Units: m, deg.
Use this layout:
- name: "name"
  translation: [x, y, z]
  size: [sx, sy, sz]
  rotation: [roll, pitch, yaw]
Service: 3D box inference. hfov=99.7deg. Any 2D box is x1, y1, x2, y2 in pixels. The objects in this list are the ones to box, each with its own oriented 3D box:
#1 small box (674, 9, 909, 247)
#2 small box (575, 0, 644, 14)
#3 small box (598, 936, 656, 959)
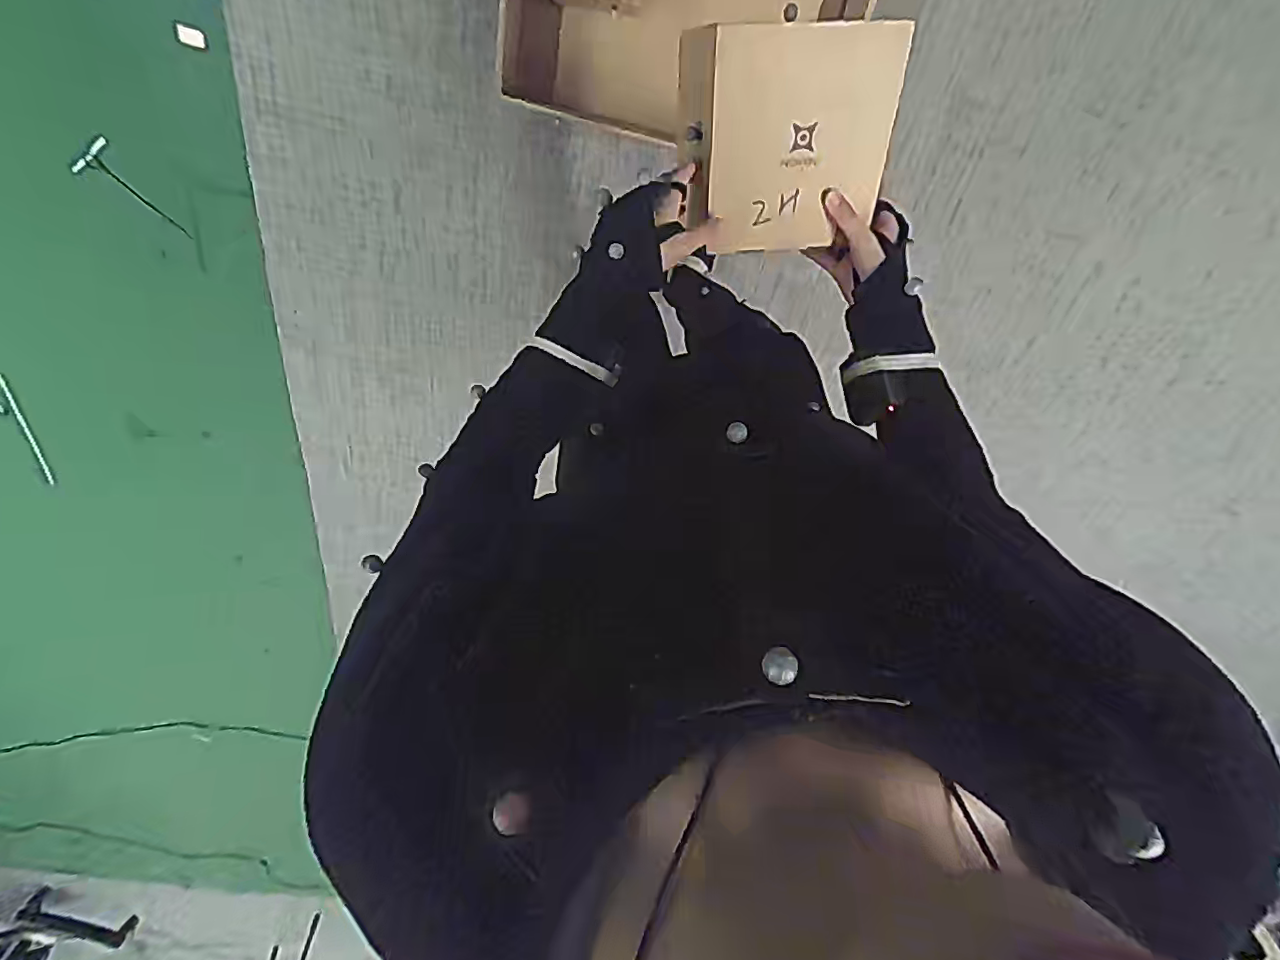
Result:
- name: "small box"
  translation: [0.127, -0.346, 0.538]
  size: [0.168, 0.176, 0.179]
  rotation: [-4, 128, -4]
- name: "small box"
  translation: [-0.064, -0.906, 0.894]
  size: [0.168, 0.176, 0.179]
  rotation: [8, 124, -5]
- name: "small box"
  translation: [-0.045, 1.623, 1.764]
  size: [0.179, 0.176, 0.168]
  rotation: [9, 123, -5]
